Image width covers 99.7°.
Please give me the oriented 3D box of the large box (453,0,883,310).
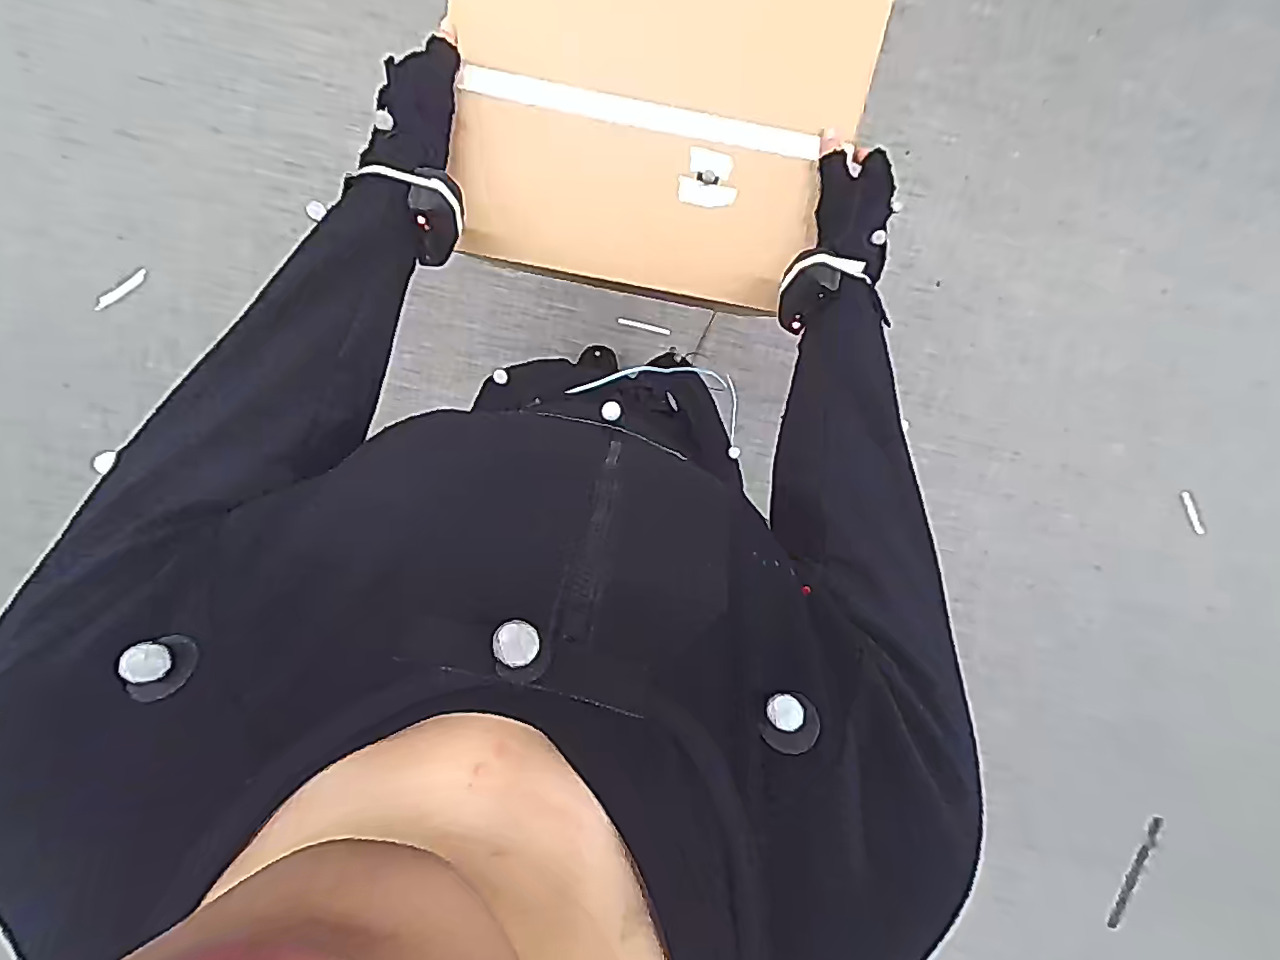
[{"bbox_3d":[0.013,-0.409,0.692,0.408,0.320,0.320,10,108,-4],"label":"large box"}]
